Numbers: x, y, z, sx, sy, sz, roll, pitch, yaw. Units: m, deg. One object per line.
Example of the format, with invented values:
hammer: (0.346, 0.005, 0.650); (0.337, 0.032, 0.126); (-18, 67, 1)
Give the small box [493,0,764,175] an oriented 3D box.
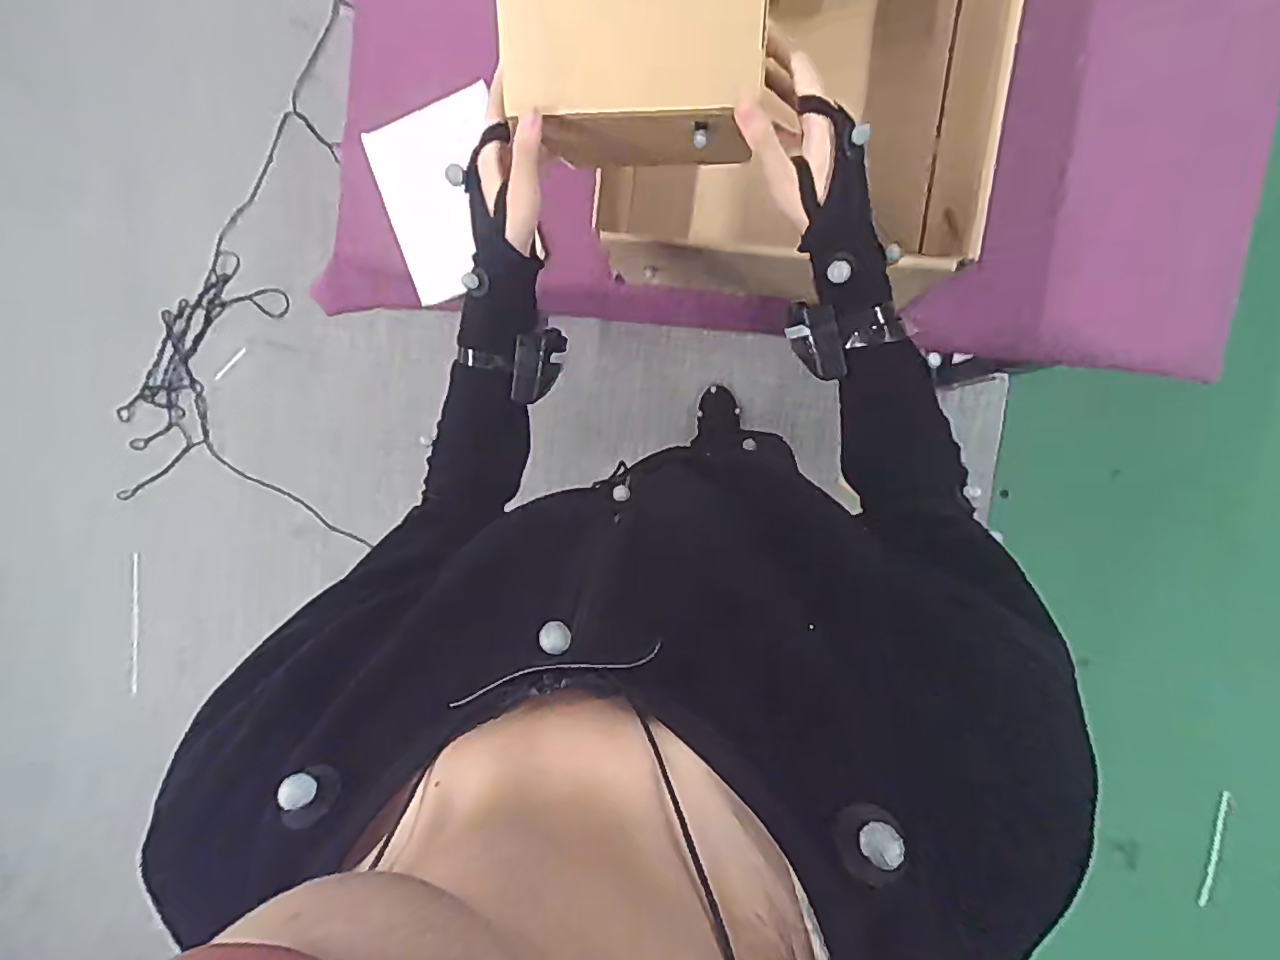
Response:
small box: (0.002, -0.340, 0.409); (0.179, 0.176, 0.168); (2, 109, 7)
